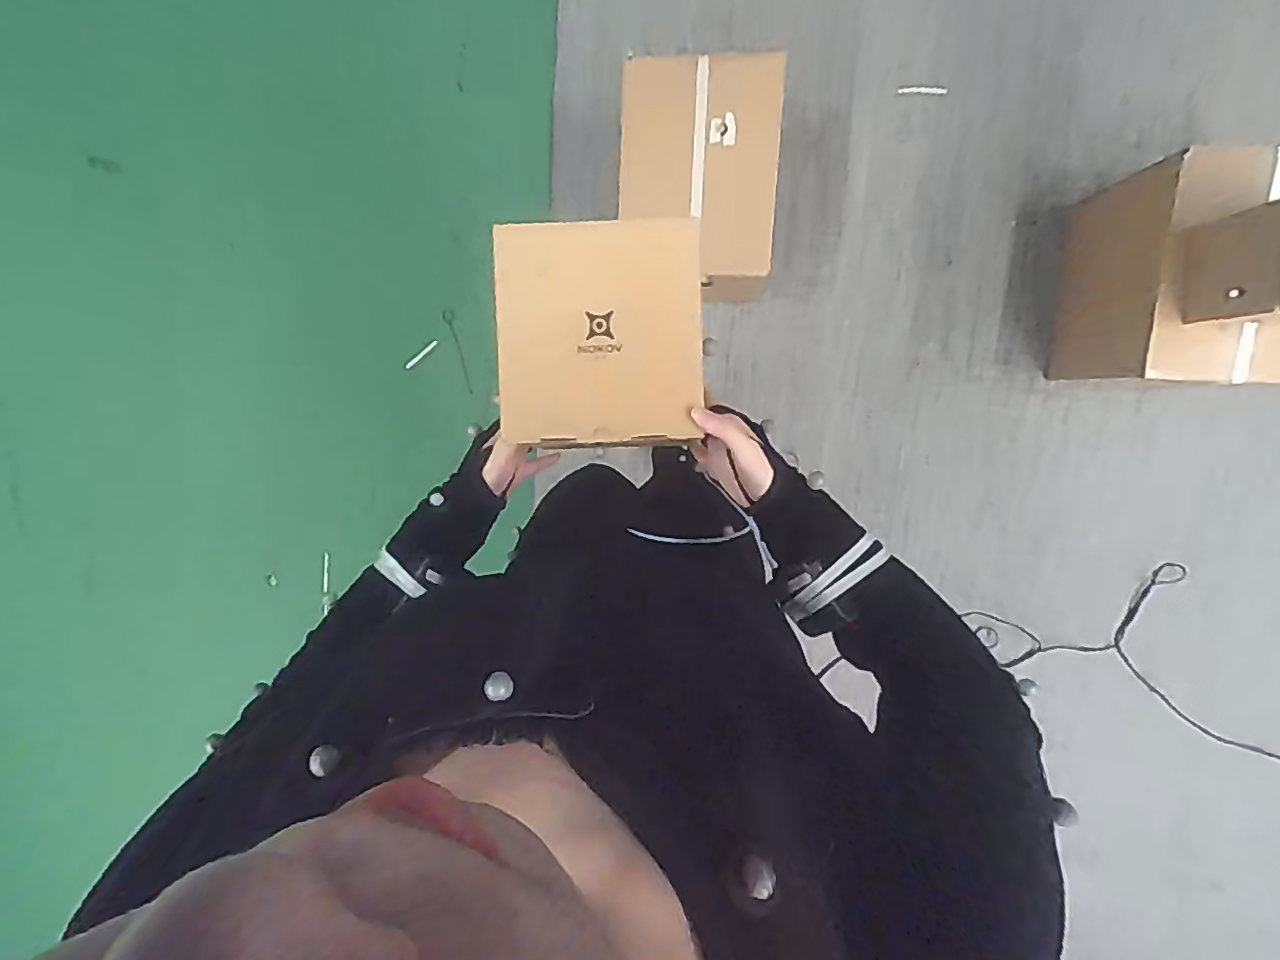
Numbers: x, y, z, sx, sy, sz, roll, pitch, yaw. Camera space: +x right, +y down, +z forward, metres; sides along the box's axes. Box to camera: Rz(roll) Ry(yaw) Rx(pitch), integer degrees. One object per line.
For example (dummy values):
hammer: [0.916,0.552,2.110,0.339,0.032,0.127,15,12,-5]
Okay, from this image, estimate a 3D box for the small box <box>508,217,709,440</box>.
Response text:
small box: [-0.026,-0.129,0.520,0.168,0.176,0.179,-1,93,1]

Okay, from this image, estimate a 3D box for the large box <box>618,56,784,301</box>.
large box: [0.135,-0.633,1.212,0.320,0.320,0.408,4,99,7]
